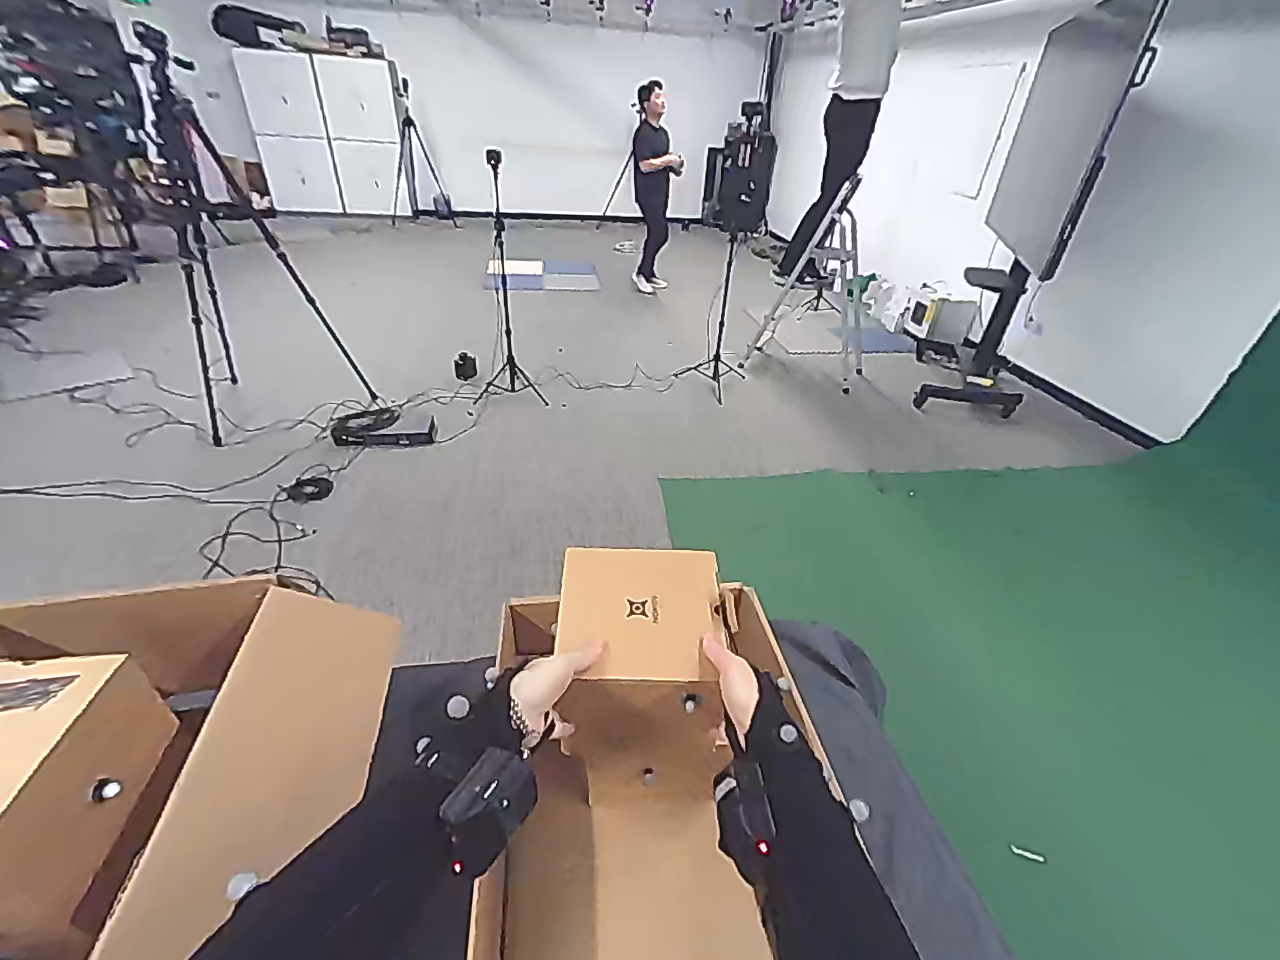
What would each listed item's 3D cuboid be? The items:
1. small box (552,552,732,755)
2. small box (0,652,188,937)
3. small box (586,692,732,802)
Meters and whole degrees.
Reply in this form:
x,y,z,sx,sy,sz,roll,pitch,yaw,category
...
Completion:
x,y,z,sx,sy,sz,roll,pitch,yaw,category
-0.002,0.201,0.625,0.179,0.176,0.168,3,41,-3,small box
-0.564,0.282,0.492,0.168,0.176,0.179,0,37,-8,small box
0.014,0.320,0.738,0.179,0.176,0.168,-1,42,-6,small box
